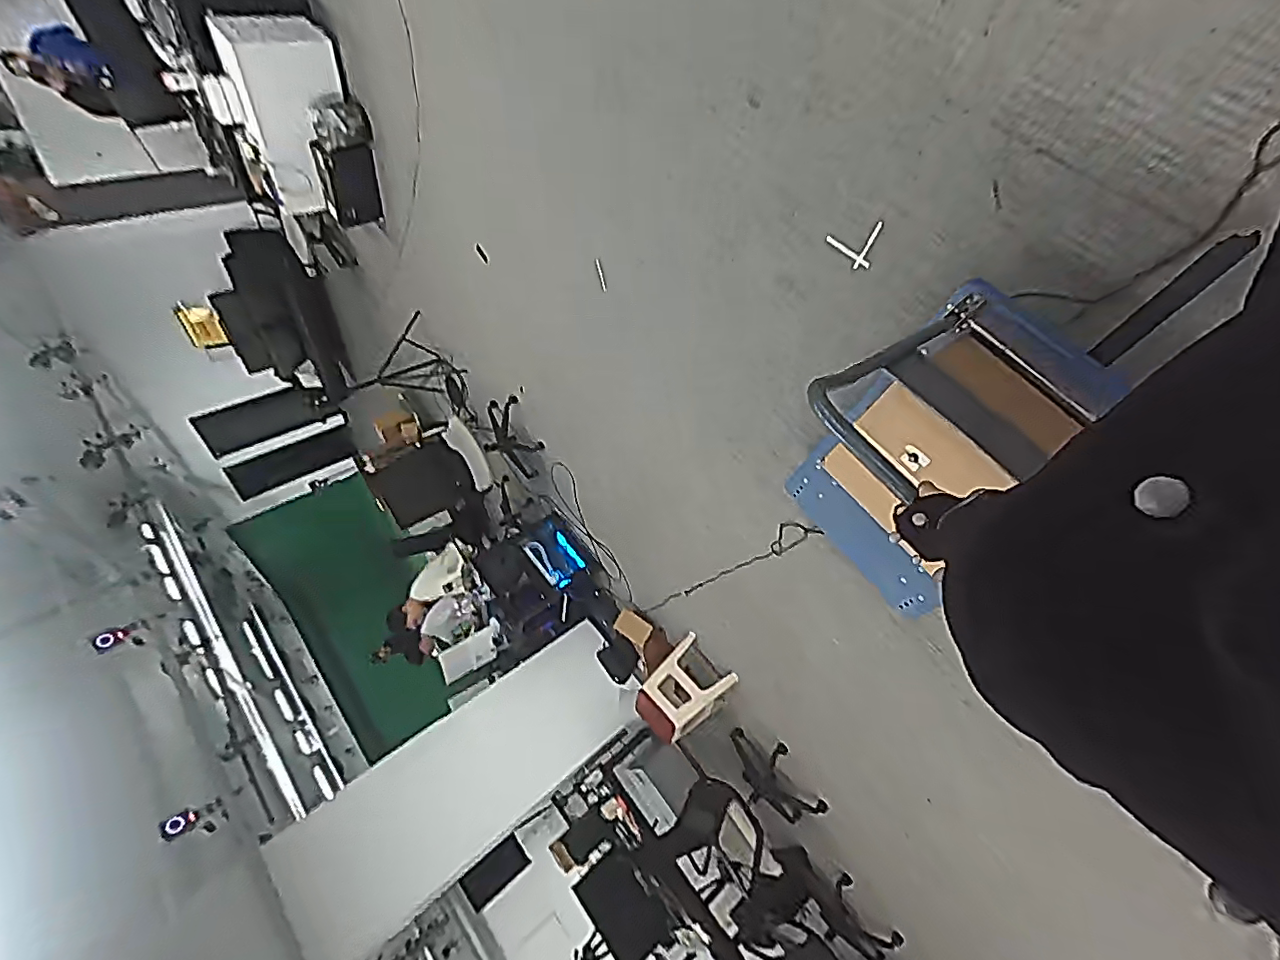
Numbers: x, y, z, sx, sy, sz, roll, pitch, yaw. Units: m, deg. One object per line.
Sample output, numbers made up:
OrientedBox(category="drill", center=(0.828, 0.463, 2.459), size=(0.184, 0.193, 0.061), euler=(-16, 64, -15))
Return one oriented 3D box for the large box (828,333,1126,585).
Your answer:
OrientedBox(category="large box", center=(0.724, -0.051, 1.204), size=(0.408, 0.320, 0.320), euler=(50, 147, 18))
